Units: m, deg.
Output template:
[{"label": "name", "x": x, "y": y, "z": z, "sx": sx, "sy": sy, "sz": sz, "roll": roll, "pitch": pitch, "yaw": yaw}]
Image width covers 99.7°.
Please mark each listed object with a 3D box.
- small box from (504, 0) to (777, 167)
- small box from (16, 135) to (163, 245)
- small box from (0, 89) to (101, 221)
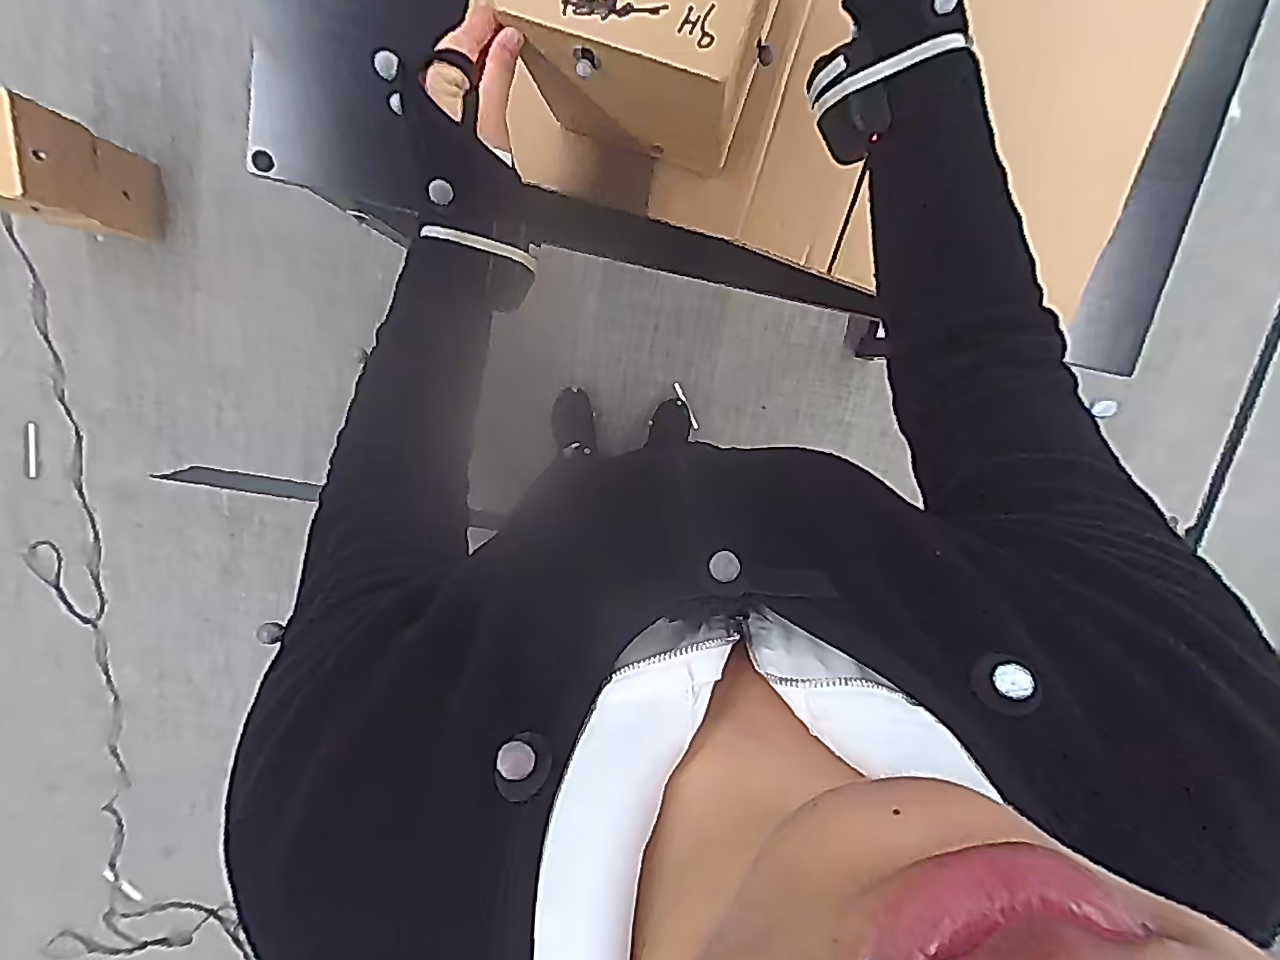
[{"label": "small box", "x": 0.017, "y": -0.382, "z": 0.415, "sx": 0.168, "sy": 0.176, "sz": 0.179, "roll": 19, "pitch": 102, "yaw": 3}, {"label": "small box", "x": -1.173, "y": -0.623, "z": 1.157, "sx": 0.168, "sy": 0.176, "sz": 0.179, "roll": 5, "pitch": 102, "yaw": -7}, {"label": "small box", "x": -1.156, "y": -0.594, "z": 0.998, "sx": 0.168, "sy": 0.176, "sz": 0.179, "roll": 2, "pitch": 101, "yaw": -8}]
